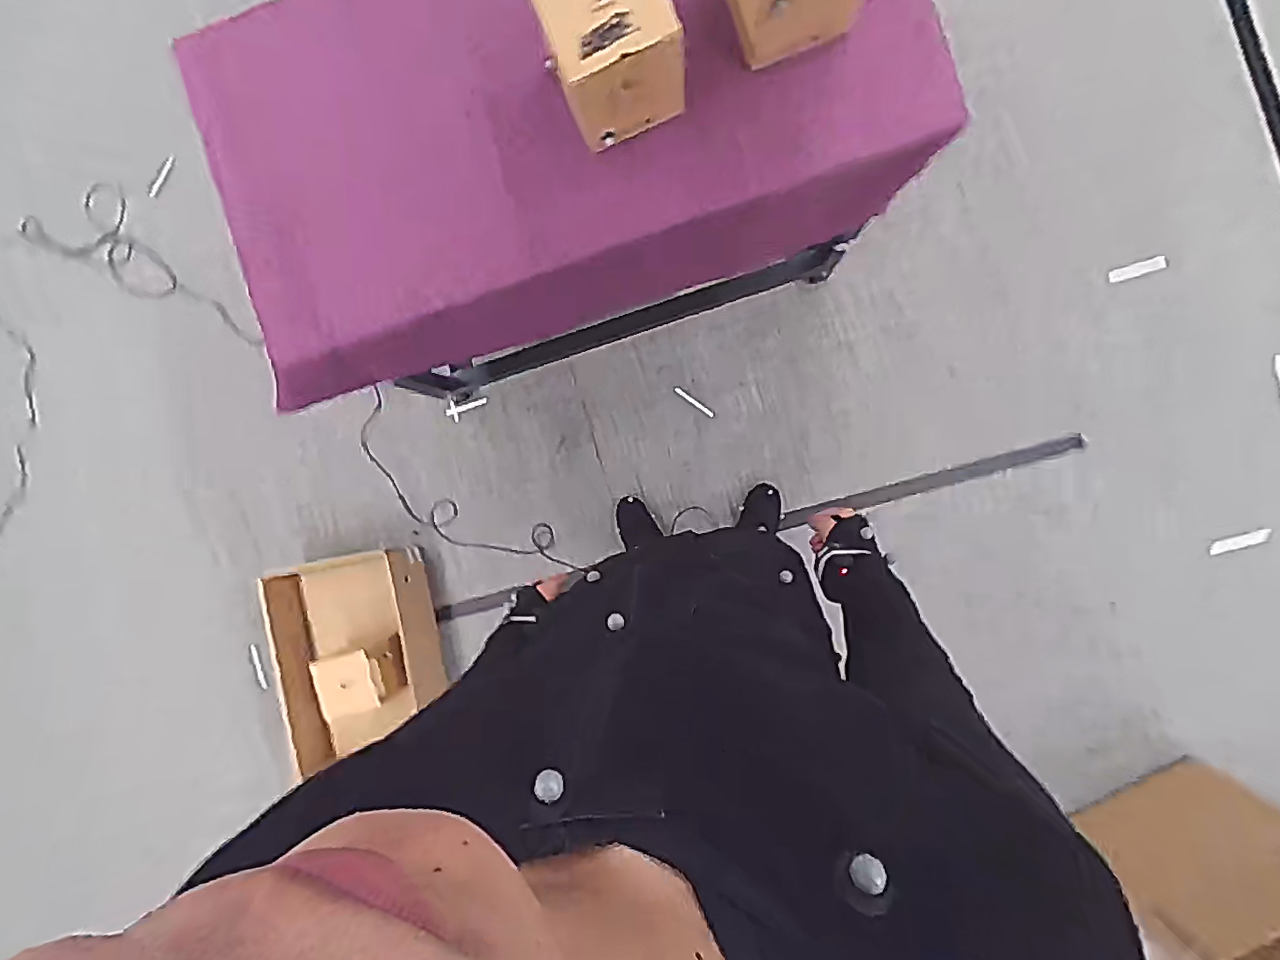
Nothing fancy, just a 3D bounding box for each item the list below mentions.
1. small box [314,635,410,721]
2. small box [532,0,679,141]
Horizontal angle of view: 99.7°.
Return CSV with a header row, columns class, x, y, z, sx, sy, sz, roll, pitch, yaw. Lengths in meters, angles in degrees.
class,x,y,z,sx,sy,sz,roll,pitch,yaw
small box,-0.798,0.569,1.578,0.179,0.176,0.168,-17,88,5
small box,-0.046,-0.645,0.802,0.168,0.176,0.179,-23,88,5
